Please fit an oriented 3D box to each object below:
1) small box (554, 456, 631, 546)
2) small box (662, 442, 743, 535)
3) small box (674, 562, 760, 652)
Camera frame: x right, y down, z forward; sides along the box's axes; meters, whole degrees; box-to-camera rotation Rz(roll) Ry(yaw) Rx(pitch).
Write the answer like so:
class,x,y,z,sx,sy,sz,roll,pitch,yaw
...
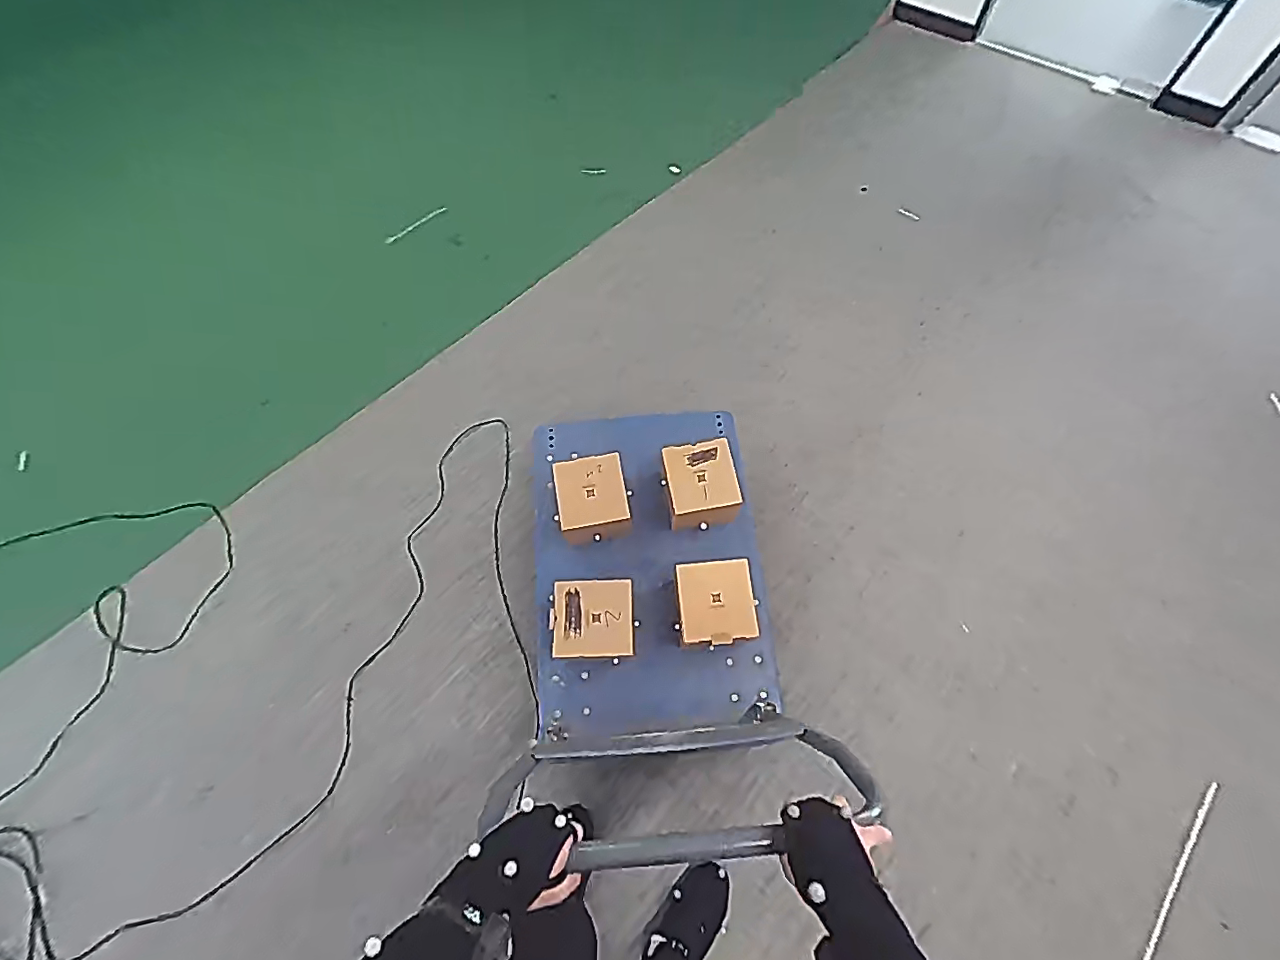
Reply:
class,x,y,z,sx,sy,sz,roll,pitch,yaw
small box,-0.115,0.060,1.362,0.168,0.176,0.179,-9,69,-4
small box,0.151,0.025,1.373,0.168,0.176,0.179,-10,70,-3
small box,0.172,0.301,1.268,0.168,0.176,0.179,-5,70,-1
